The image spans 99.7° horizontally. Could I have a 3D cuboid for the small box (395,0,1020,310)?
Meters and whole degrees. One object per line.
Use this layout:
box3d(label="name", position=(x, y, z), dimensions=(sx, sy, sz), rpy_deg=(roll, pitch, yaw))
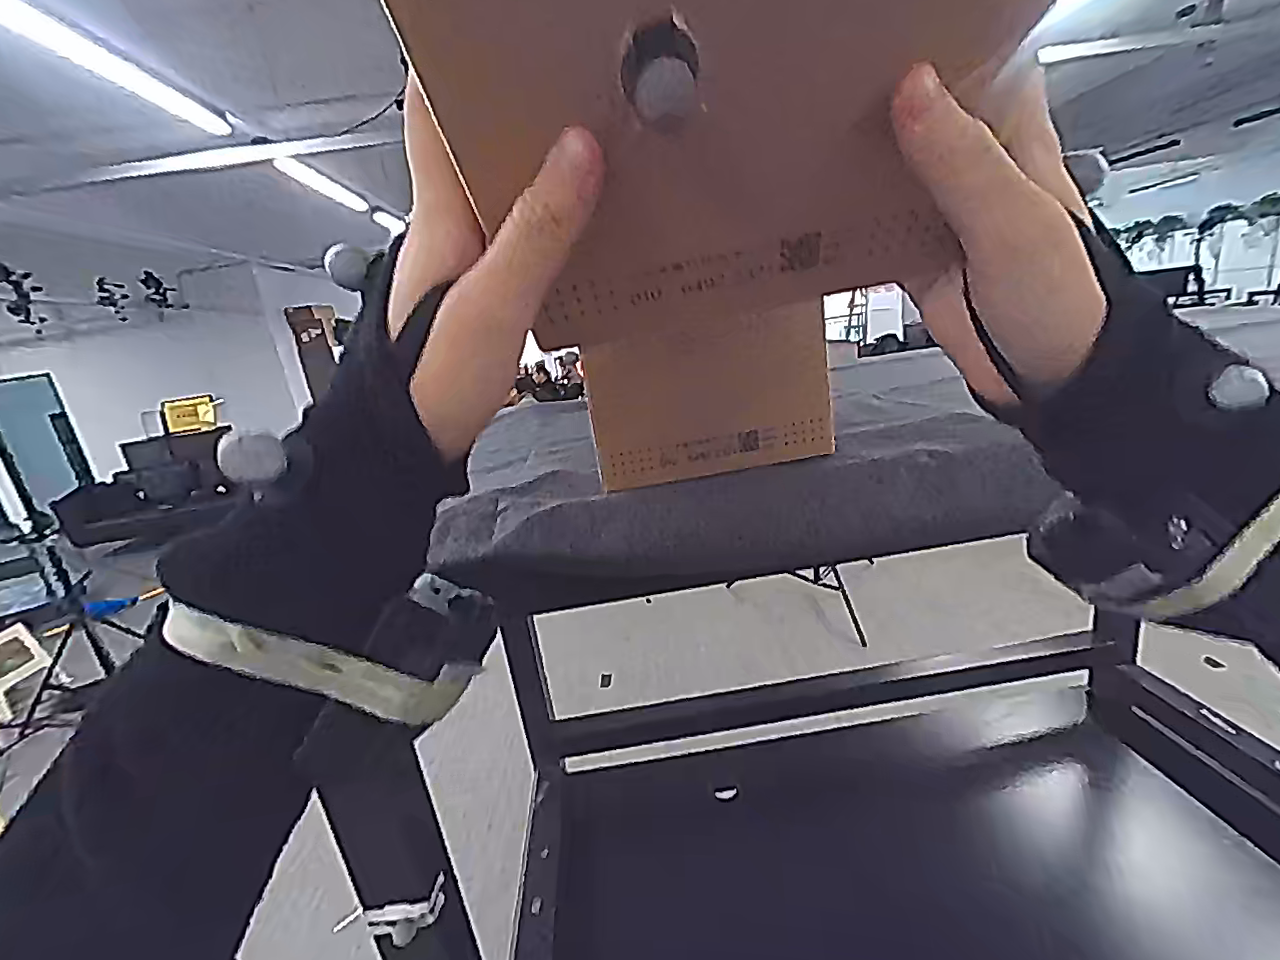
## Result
box3d(label="small box", position=(0.017, -0.181, 0.190), dimensions=(0.168, 0.176, 0.179), rpy_deg=(-11, 59, 4))
